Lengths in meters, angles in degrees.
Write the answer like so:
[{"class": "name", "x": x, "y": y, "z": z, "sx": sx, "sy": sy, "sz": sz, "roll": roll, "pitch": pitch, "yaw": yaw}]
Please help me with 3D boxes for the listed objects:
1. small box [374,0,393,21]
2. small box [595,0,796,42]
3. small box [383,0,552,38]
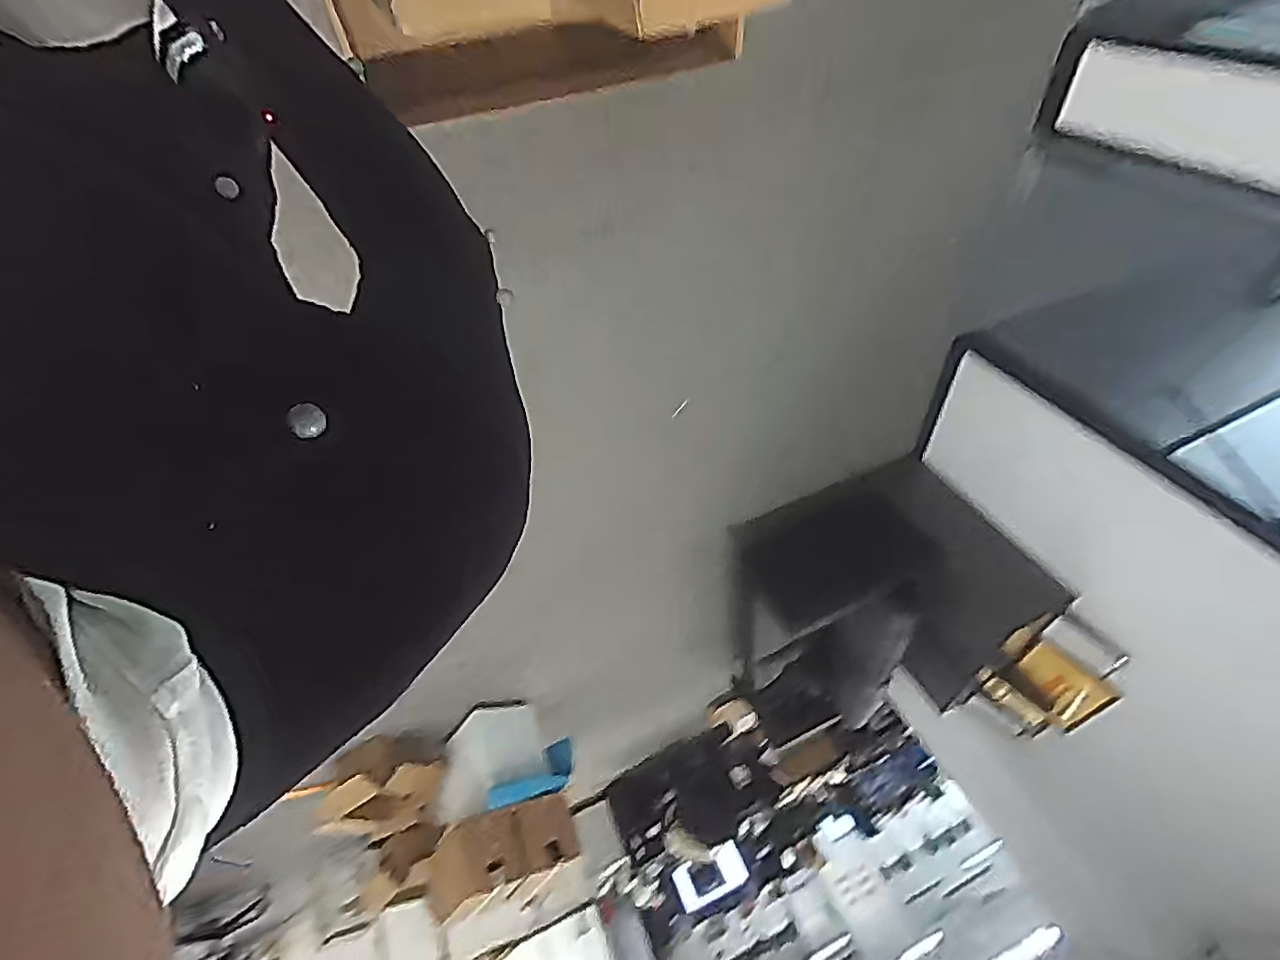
[{"class": "small box", "x": -0.278, "y": -0.719, "z": 0.698, "sx": 0.179, "sy": 0.176, "sz": 0.168, "roll": -20, "pitch": 139, "yaw": -14}, {"class": "small box", "x": 0.045, "y": -0.571, "z": 0.545, "sx": 0.179, "sy": 0.176, "sz": 0.168, "roll": -20, "pitch": 140, "yaw": -9}, {"class": "small box", "x": -0.214, "y": -0.610, "z": 0.594, "sx": 0.179, "sy": 0.176, "sz": 0.168, "roll": -19, "pitch": 140, "yaw": -13}]
